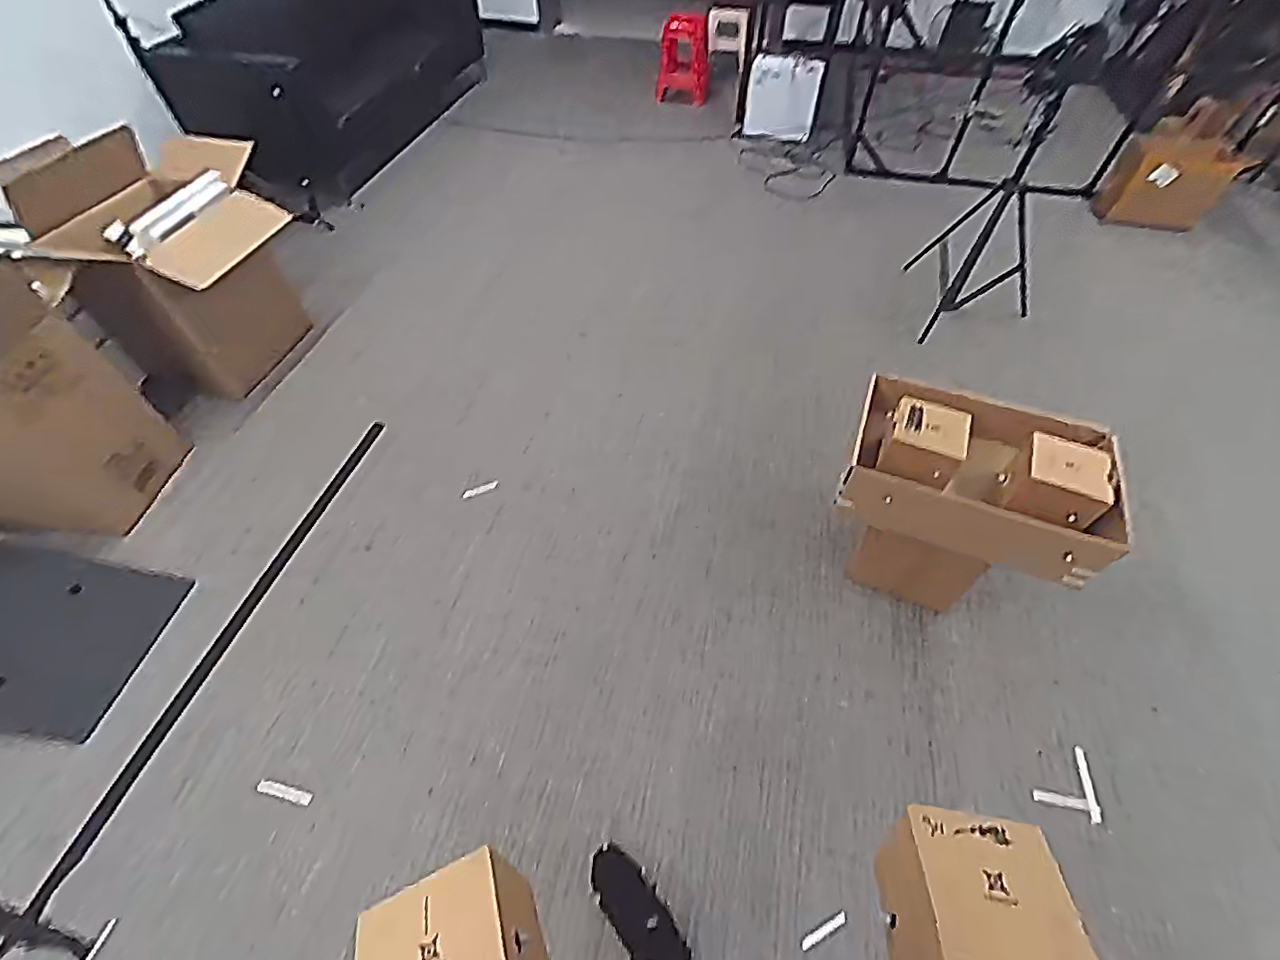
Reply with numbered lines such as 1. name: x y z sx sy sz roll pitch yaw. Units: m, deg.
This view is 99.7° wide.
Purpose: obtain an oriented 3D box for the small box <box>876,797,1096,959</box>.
1. small box: 0.407 0.536 0.665 0.168 0.176 0.179 7 32 8

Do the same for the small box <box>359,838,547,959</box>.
1. small box: -0.213 0.582 0.647 0.168 0.176 0.179 -23 39 -11
